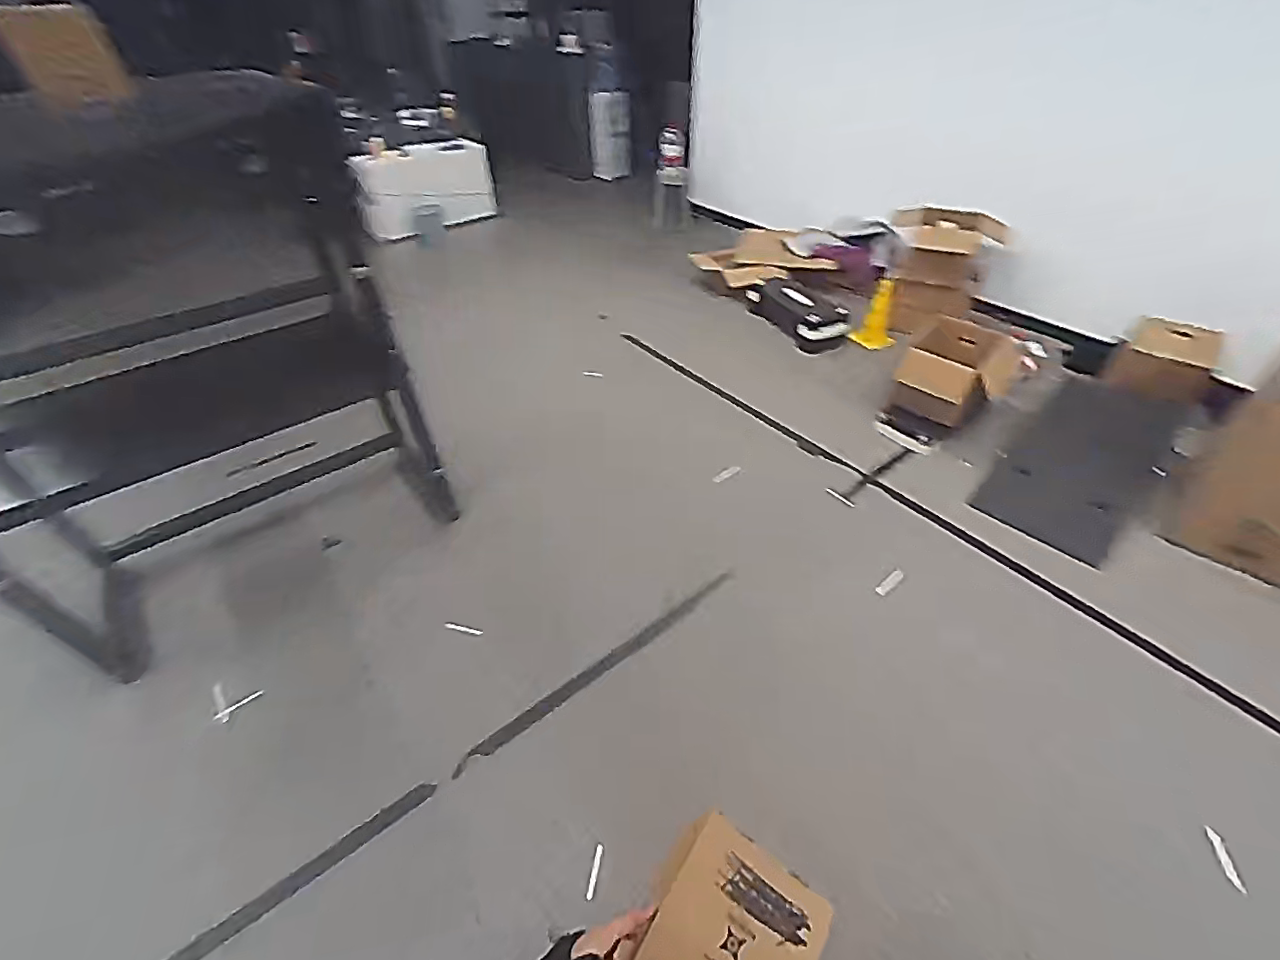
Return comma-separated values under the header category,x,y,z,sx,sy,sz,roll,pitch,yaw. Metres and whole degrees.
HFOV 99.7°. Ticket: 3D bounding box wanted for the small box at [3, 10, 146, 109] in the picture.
category,x,y,z,sx,sy,sz,roll,pitch,yaw
small box,-1.297,-0.977,1.256,0.168,0.176,0.179,-27,48,-24
